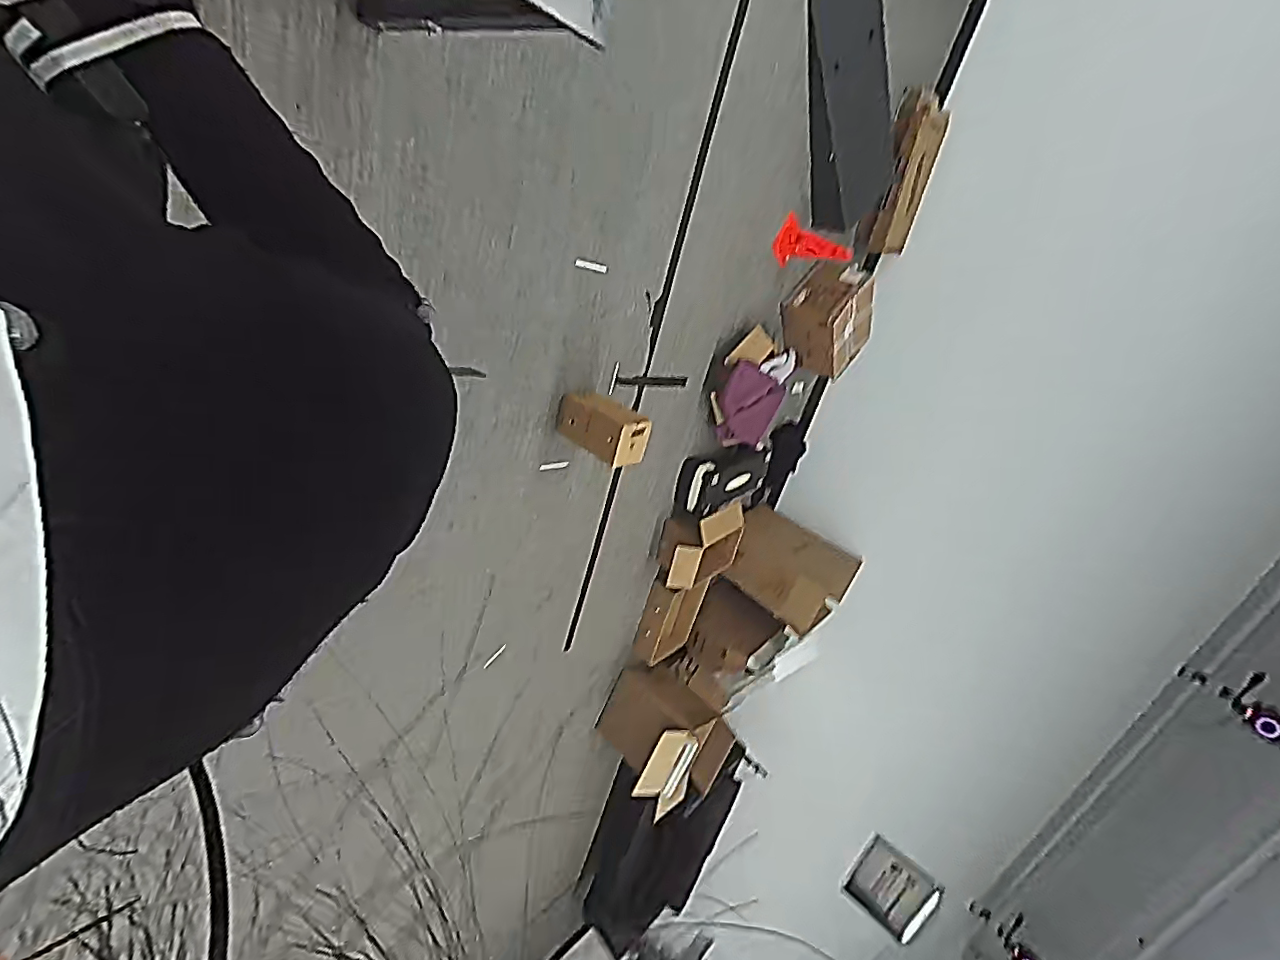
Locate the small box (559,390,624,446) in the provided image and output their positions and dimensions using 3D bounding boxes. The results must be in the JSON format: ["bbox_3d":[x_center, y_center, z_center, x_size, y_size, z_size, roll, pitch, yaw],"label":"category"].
[{"bbox_3d":[-0.197,-0.252,2.148,0.179,0.176,0.168,-14,128,-46],"label":"small box"}]

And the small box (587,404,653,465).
[{"bbox_3d":[-0.080,-0.181,2.054,0.168,0.176,0.179,-15,129,-47],"label":"small box"}]
